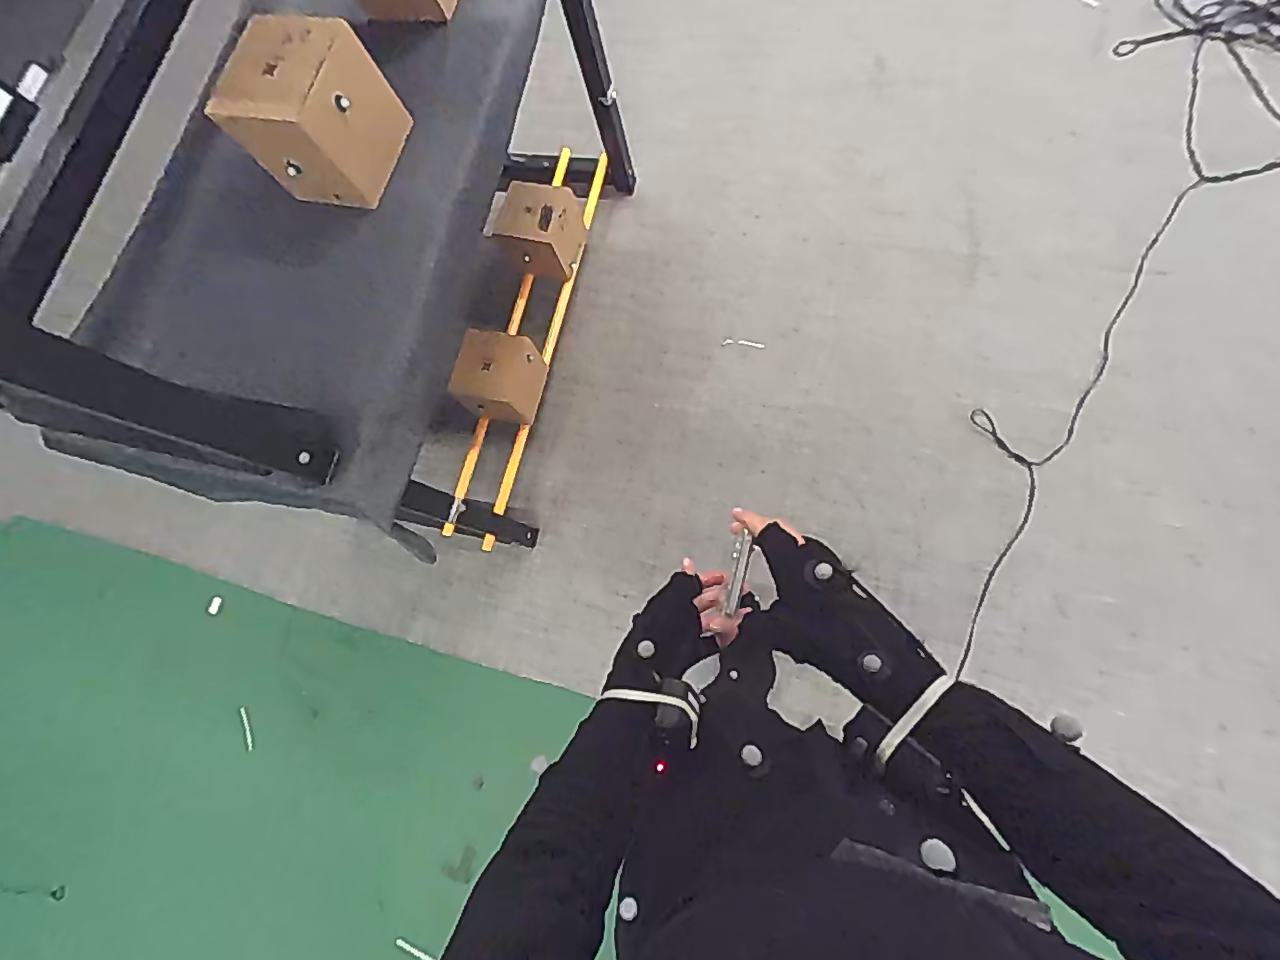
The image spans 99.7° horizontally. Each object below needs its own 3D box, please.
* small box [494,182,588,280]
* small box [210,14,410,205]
[{"bbox_3d":[-0.258,-0.665,1.461,0.179,0.176,0.168,15,79,14],"label":"small box"},{"bbox_3d":[-0.485,-0.553,0.822,0.168,0.176,0.179,14,79,14],"label":"small box"}]
